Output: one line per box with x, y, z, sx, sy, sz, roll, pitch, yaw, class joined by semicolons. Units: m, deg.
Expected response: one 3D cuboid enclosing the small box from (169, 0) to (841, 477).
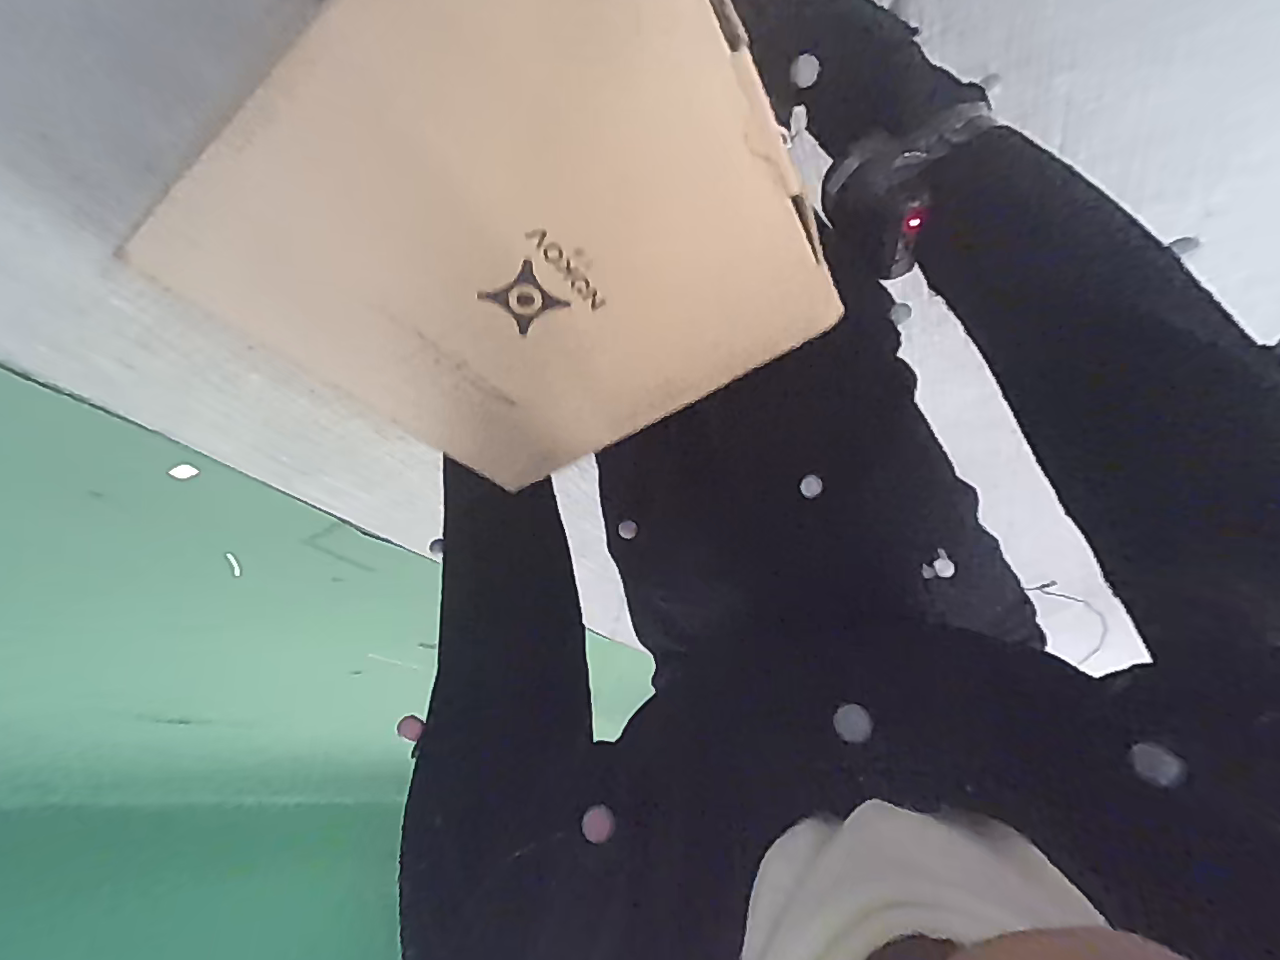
-0.043;-0.134;0.236;0.179;0.176;0.168;-25;142;24;small box
